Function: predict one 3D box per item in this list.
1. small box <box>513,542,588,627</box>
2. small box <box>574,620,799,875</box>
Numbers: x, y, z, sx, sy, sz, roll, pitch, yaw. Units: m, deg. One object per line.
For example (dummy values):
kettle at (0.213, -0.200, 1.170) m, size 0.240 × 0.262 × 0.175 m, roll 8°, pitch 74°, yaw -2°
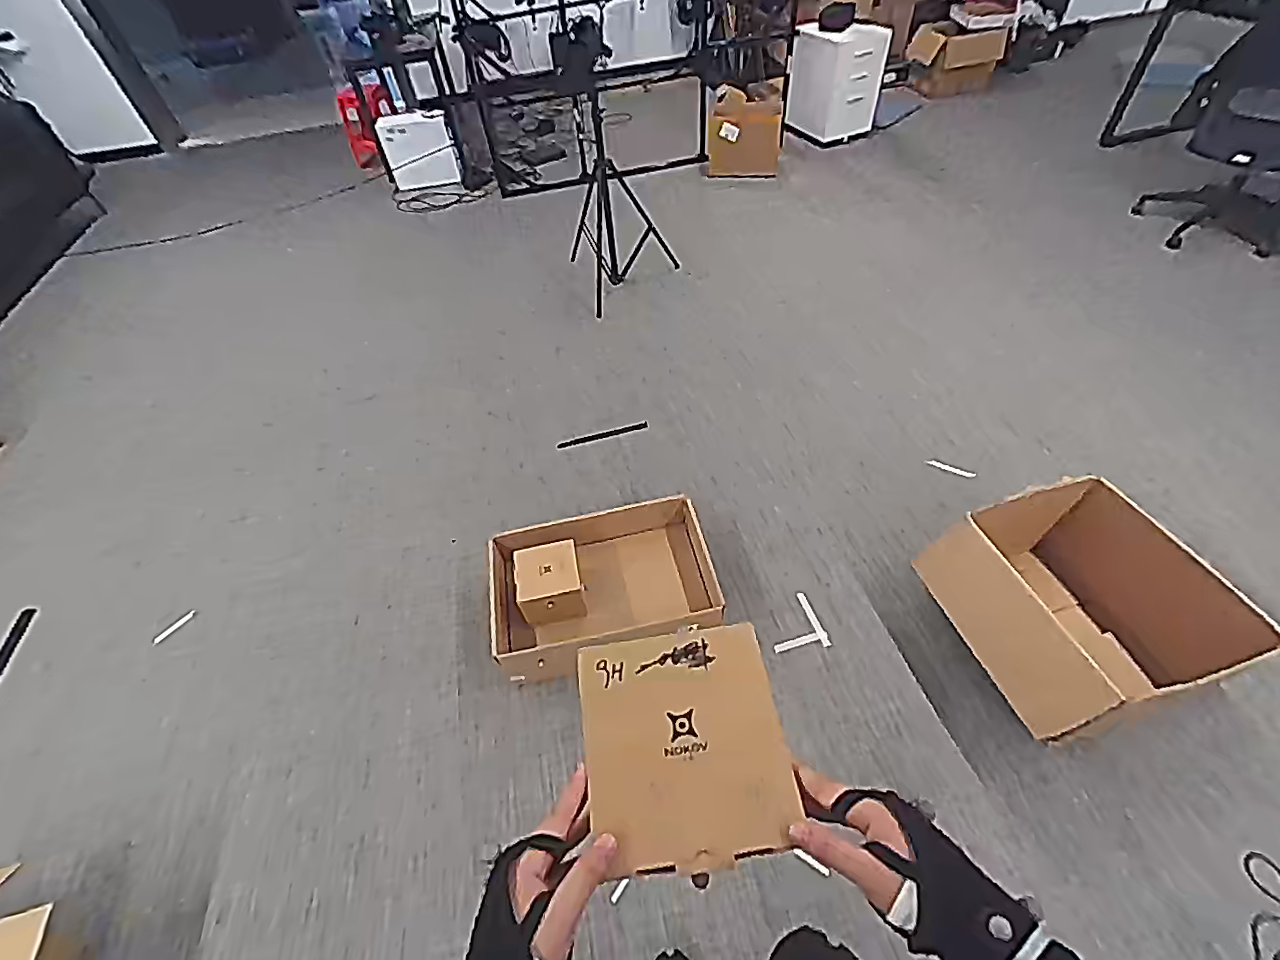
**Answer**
small box at (-0.257, 0.305, 1.563) m, size 0.179 × 0.176 × 0.168 m, roll -11°, pitch 52°, yaw -6°
small box at (0.034, 0.254, 0.517) m, size 0.168 × 0.176 × 0.179 m, roll -8°, pitch 56°, yaw -3°
